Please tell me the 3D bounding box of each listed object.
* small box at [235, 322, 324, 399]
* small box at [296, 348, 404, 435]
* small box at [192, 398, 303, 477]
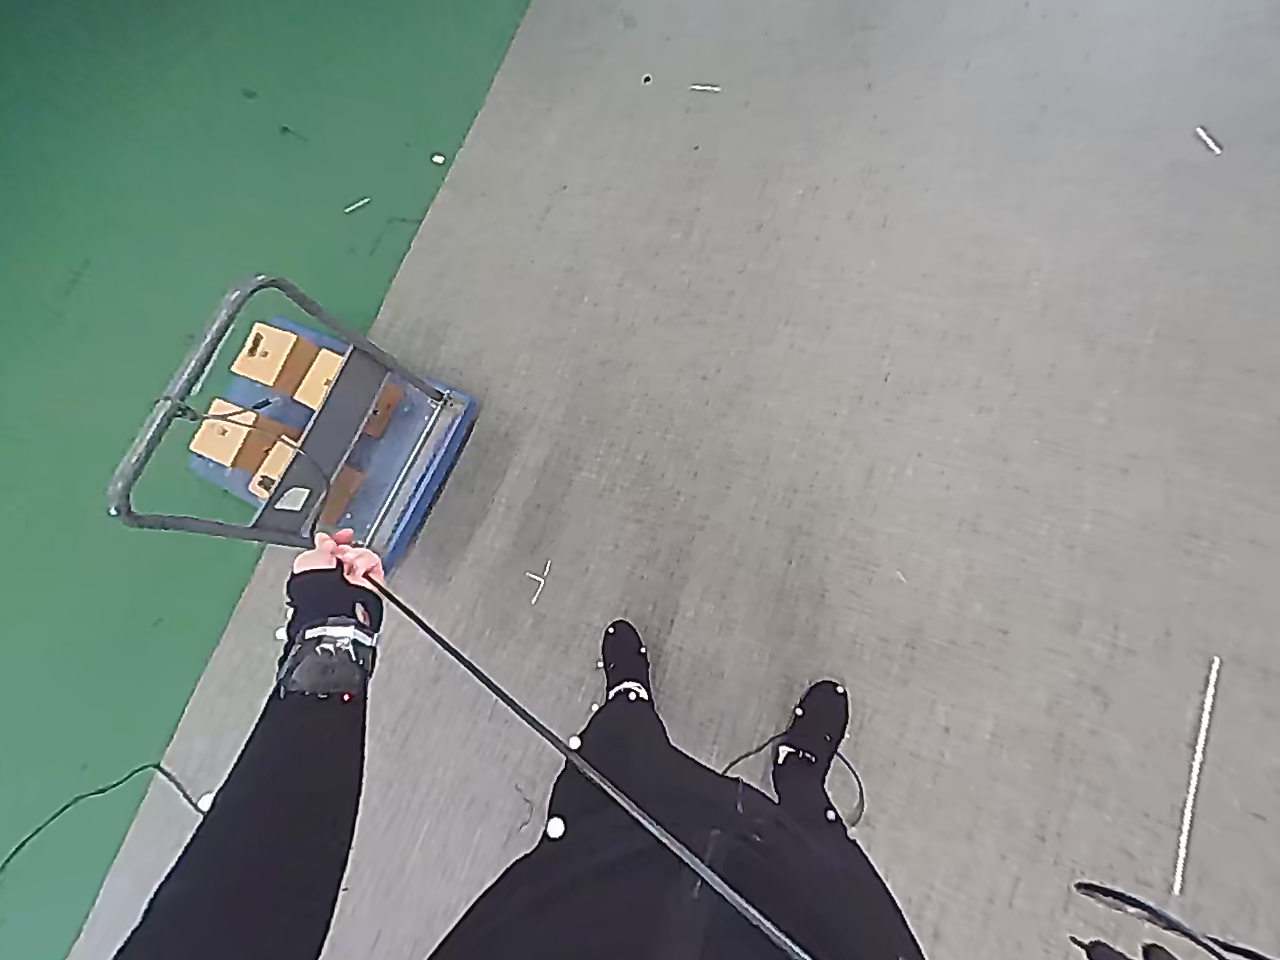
[{"bbox_3d":[-1.068,-0.351,1.650,0.179,0.176,0.168,20,82,17],"label":"small box"},{"bbox_3d":[-0.833,-0.249,1.567,0.179,0.176,0.168,25,83,18],"label":"small box"},{"bbox_3d":[-1.161,-0.120,1.614,0.179,0.176,0.168,20,81,18],"label":"small box"}]
